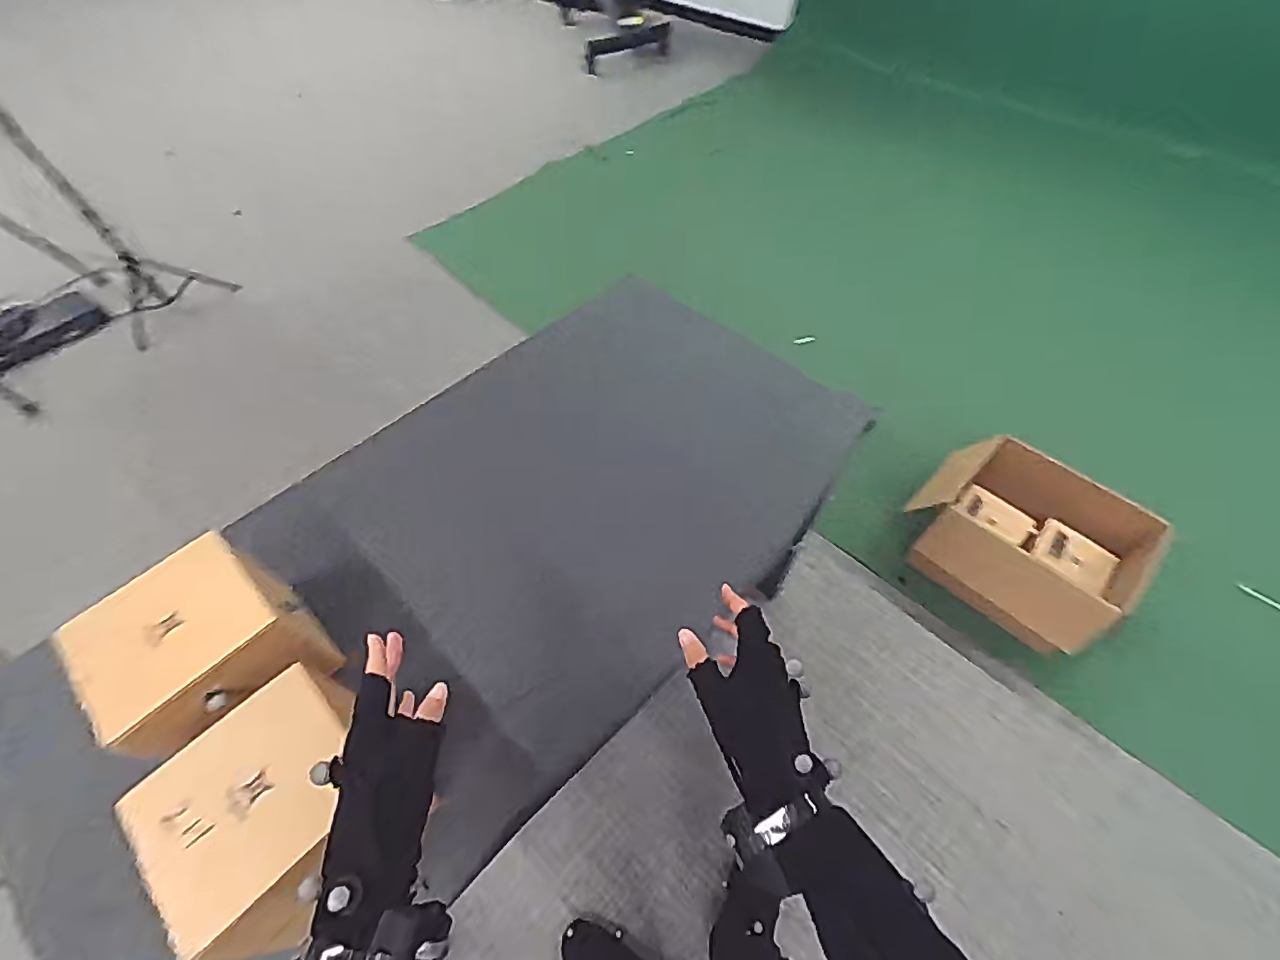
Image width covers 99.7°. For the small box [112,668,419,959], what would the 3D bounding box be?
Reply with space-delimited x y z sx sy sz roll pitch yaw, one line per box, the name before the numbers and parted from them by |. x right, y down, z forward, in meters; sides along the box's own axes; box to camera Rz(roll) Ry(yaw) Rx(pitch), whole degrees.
small box | -0.352 0.331 0.547 0.168 0.176 0.179 37 64 25

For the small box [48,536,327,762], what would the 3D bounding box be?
small box | -0.511 0.206 0.643 0.168 0.176 0.179 37 65 23
